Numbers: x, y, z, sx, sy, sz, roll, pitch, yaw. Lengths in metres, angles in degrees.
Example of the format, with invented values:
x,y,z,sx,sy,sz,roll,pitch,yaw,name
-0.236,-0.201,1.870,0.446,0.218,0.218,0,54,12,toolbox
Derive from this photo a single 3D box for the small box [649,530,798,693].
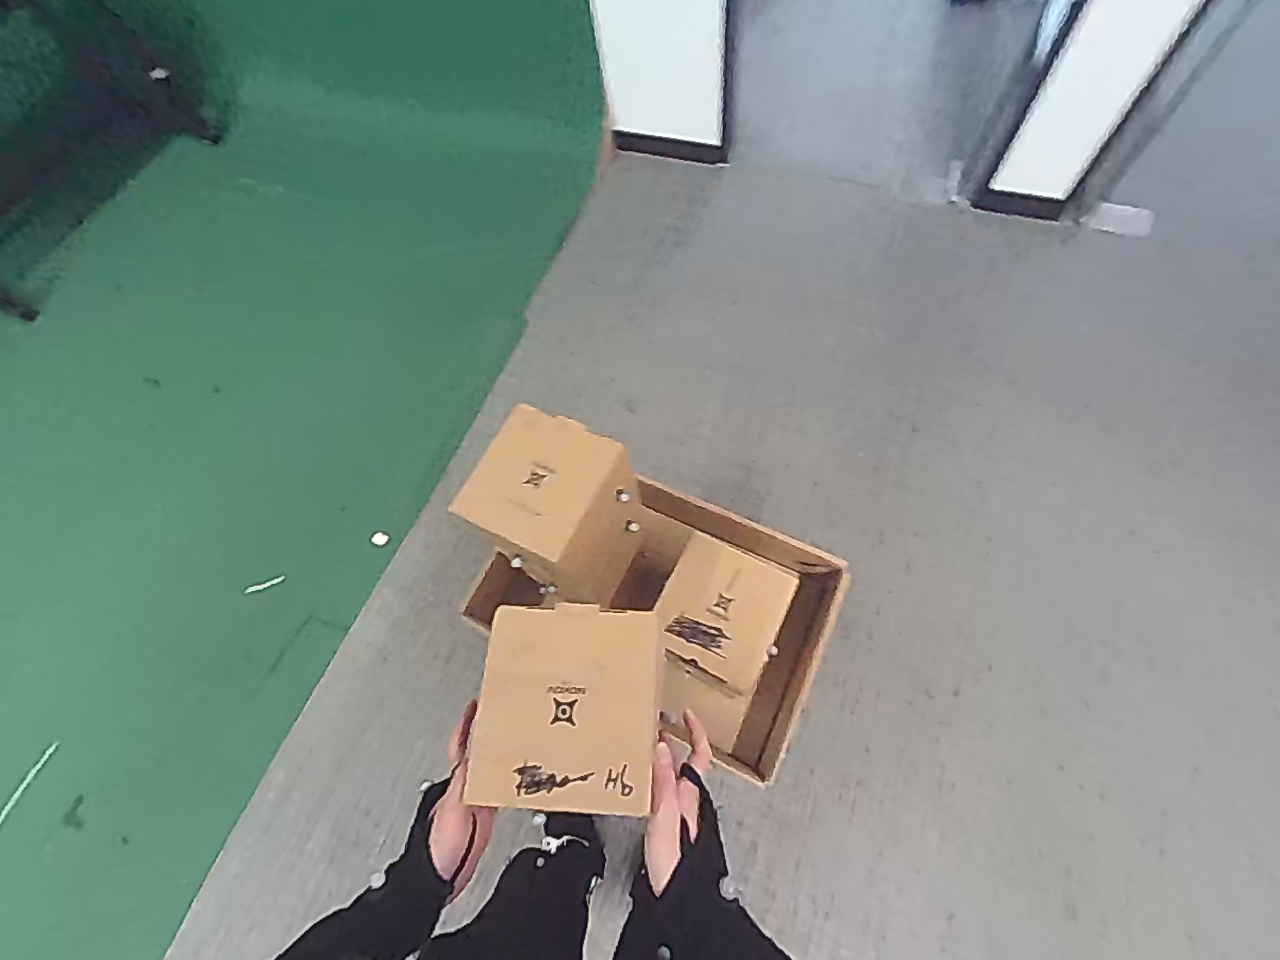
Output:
x,y,z,sx,sy,sz,roll,pitch,yaw,name
0.121,0.207,0.824,0.168,0.176,0.179,25,72,16,small box

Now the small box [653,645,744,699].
x,y,z,sx,sy,sz,roll,pitch,yaw,name
0.139,0.273,0.974,0.168,0.176,0.179,24,73,16,small box

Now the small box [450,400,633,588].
x,y,z,sx,sy,sz,roll,pitch,yaw,name
-0.121,0.025,0.753,0.168,0.176,0.179,24,71,17,small box

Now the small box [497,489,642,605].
x,y,z,sx,sy,sz,roll,pitch,yaw,name
-0.105,0.090,0.902,0.168,0.176,0.179,23,71,16,small box

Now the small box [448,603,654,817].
x,y,z,sx,sy,sz,roll,pitch,yaw,name
-0.073,0.237,0.557,0.168,0.176,0.179,0,62,5,small box
